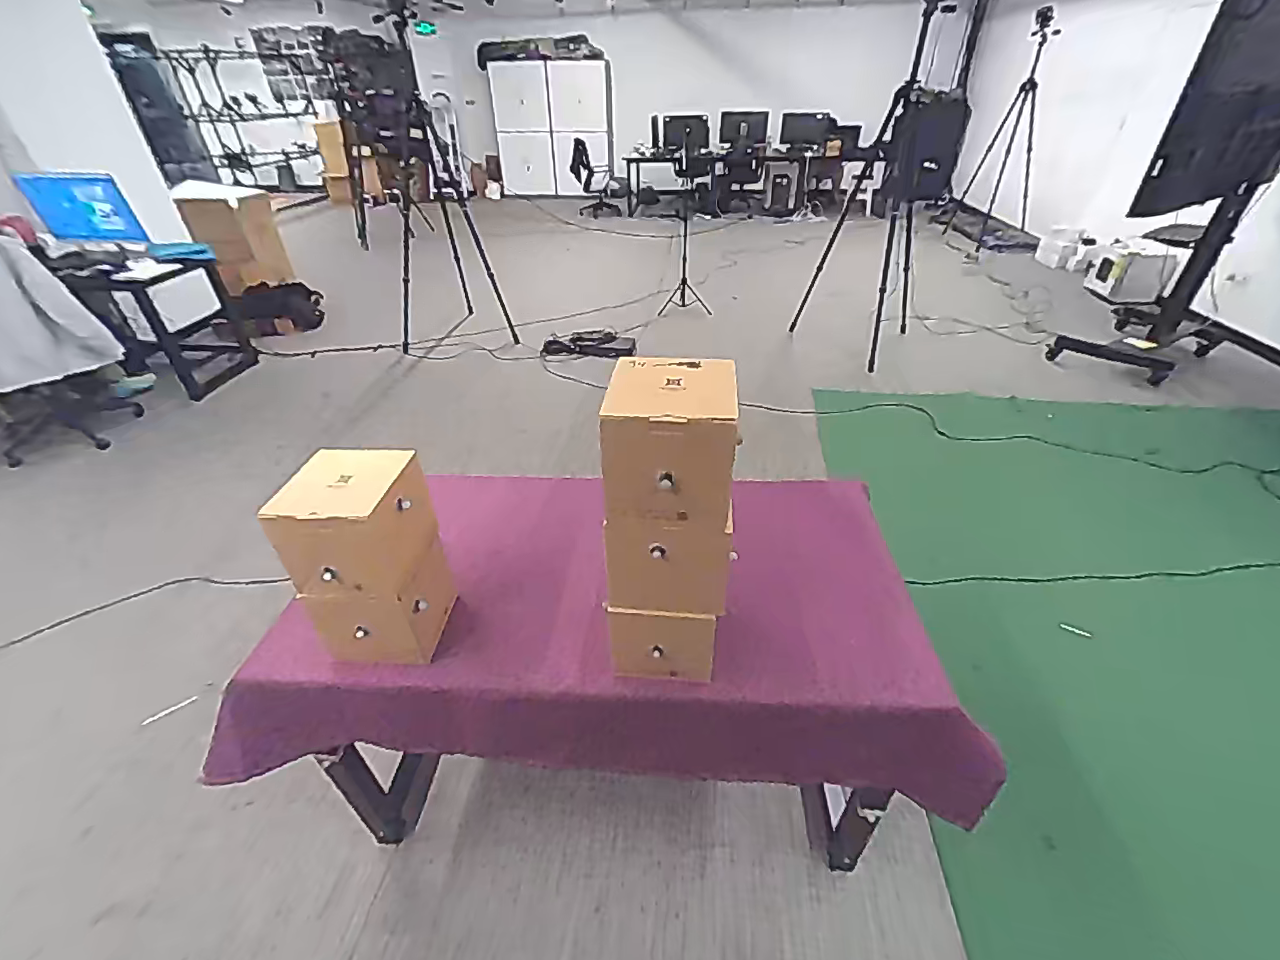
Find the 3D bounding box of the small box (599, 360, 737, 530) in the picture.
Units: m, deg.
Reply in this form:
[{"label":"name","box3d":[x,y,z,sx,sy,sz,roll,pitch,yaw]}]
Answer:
[{"label":"small box","box3d":[0.045,-0.049,0.742,0.168,0.176,0.179,4,37,6]}]

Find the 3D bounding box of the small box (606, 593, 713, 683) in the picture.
[{"label":"small box","box3d":[0.041,0.223,0.927,0.168,0.176,0.179,4,36,5]}]

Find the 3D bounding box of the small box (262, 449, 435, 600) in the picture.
[{"label":"small box","box3d":[-0.448,0.068,0.869,0.168,0.176,0.179,1,37,3]}]

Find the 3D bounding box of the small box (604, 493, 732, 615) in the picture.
[{"label":"small box","box3d":[0.047,0.089,0.832,0.179,0.176,0.168,4,37,6]}]
